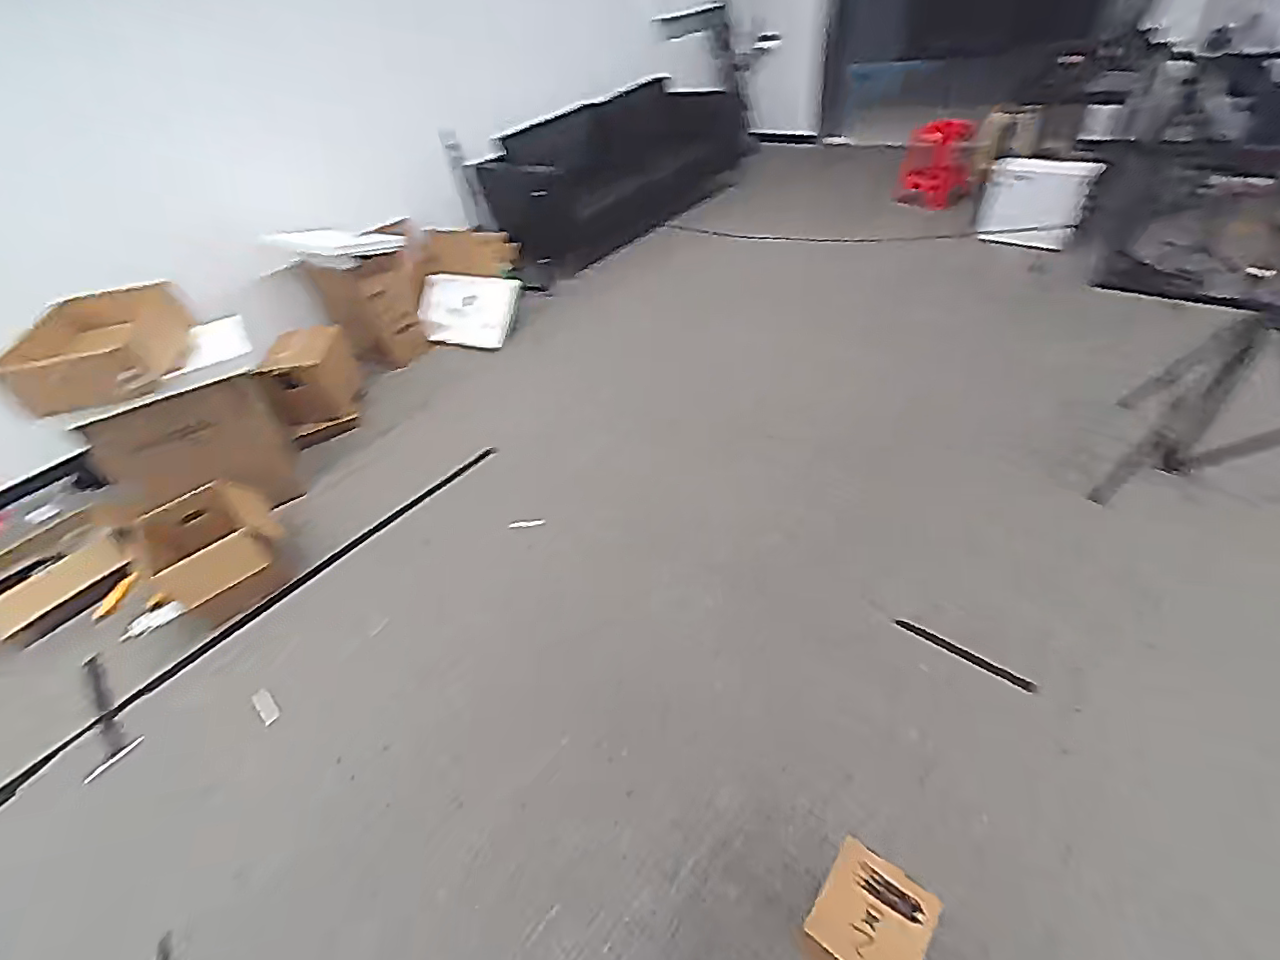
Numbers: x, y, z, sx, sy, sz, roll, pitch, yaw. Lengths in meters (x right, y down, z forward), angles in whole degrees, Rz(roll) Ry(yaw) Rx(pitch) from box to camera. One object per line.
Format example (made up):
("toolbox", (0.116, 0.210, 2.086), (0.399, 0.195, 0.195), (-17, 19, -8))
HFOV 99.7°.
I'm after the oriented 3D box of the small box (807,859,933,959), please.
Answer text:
("small box", (0.441, 0.903, 1.062), (0.168, 0.176, 0.179), (26, 54, 33))
